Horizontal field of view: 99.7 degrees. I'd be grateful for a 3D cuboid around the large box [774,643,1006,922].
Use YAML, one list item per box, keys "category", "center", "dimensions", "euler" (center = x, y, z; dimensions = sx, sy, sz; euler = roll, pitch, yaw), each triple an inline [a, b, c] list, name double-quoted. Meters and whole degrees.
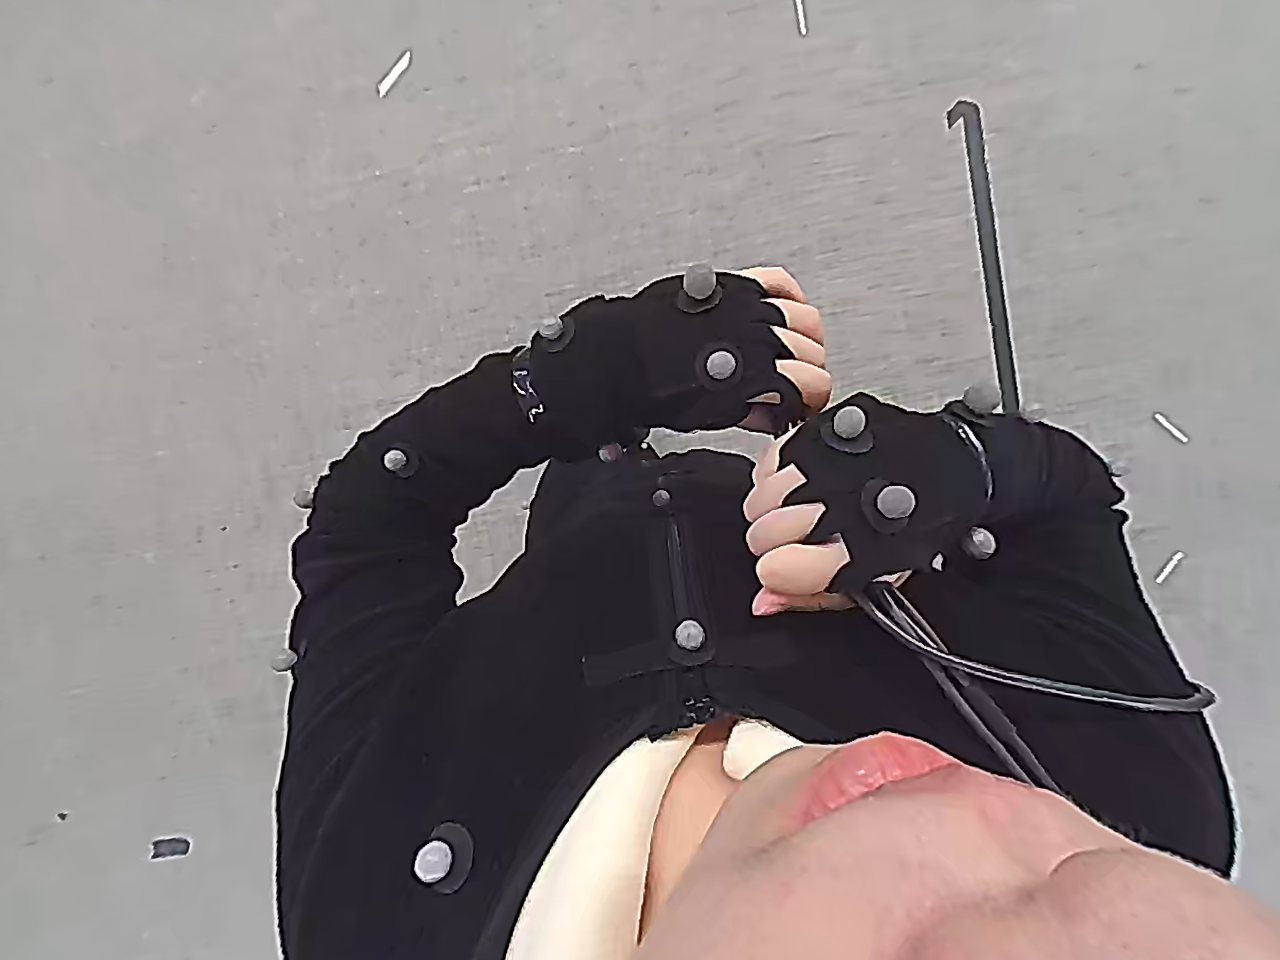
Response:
- category: "large box"
  center: [0.530, 0.640, 1.211]
  dimensions: [0.320, 0.320, 0.408]
  euler: [-14, 94, 0]
